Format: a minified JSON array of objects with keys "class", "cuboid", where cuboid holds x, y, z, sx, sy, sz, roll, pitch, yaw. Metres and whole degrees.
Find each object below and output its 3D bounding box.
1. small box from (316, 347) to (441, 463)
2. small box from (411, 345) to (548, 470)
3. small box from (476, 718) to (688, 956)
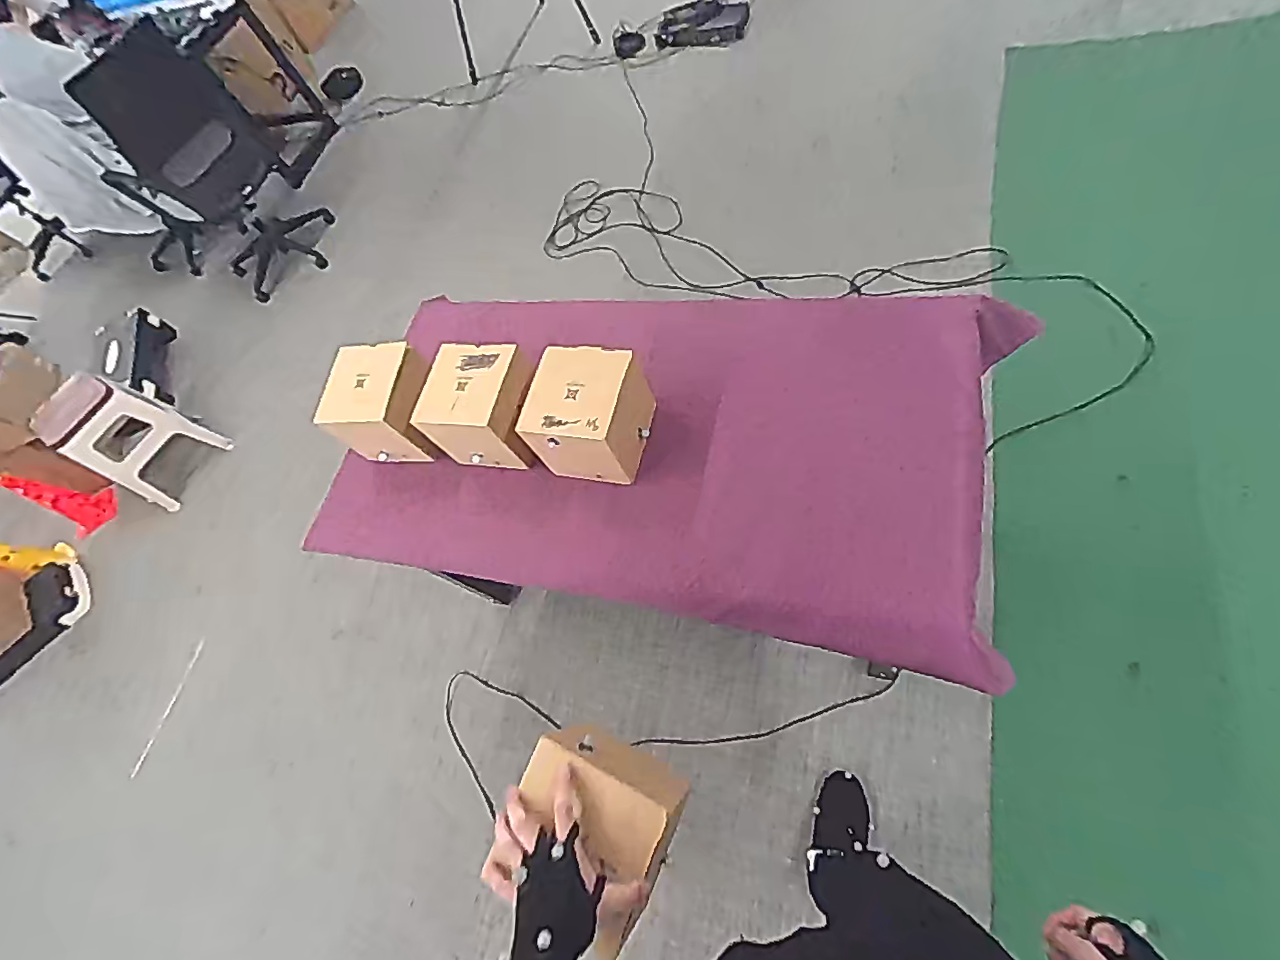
[{"class":"small box","cuboid":[-0.510,-0.151,1.113,0.168,0.176,0.179,1,65,18]},{"class":"small box","cuboid":[-0.295,-0.138,1.039,0.168,0.176,0.179,5,67,20]},{"class":"small box","cuboid":[-0.060,0.416,0.674,0.179,0.176,0.168,22,80,21]}]
